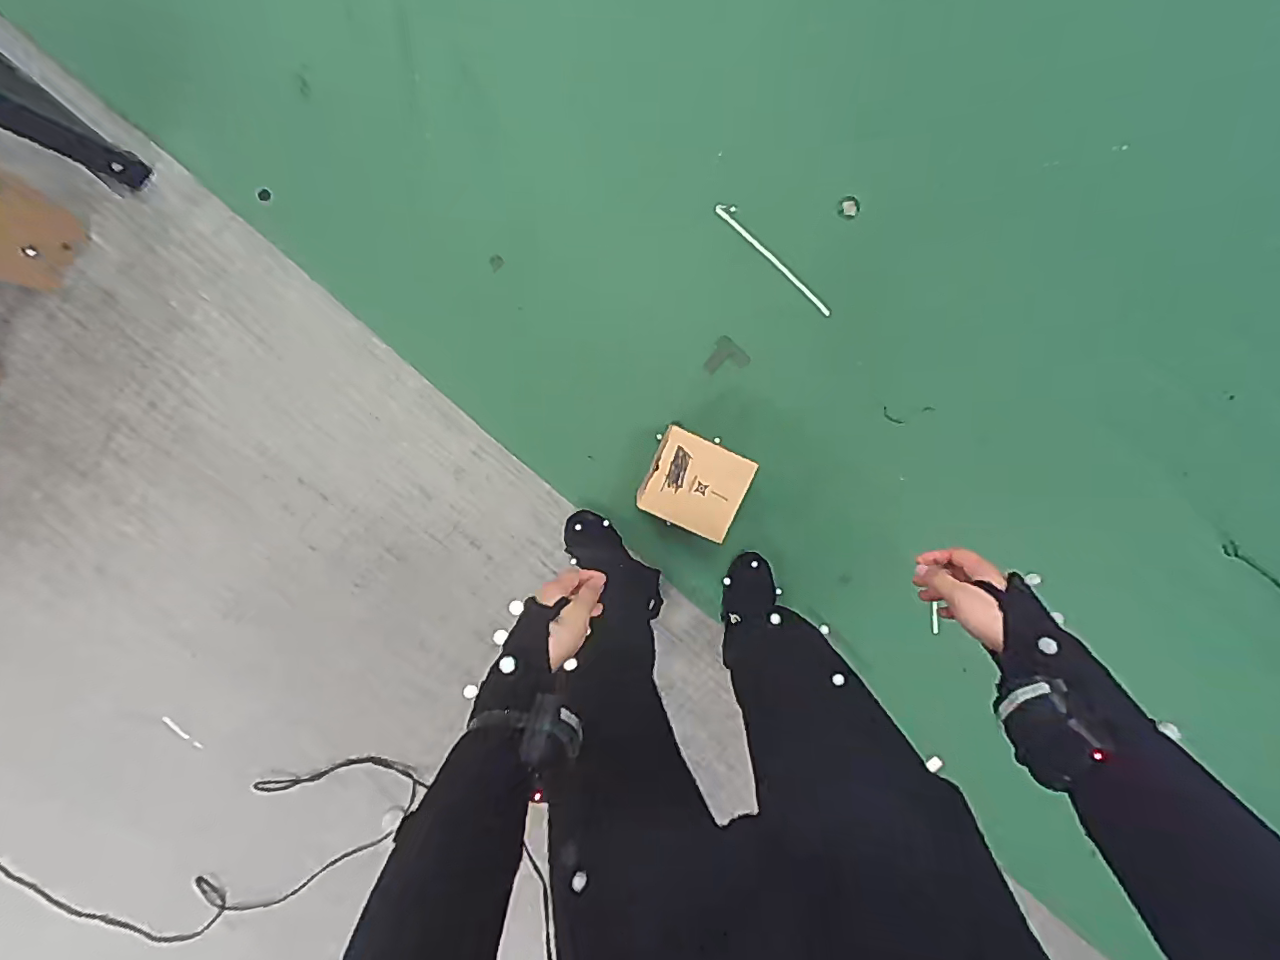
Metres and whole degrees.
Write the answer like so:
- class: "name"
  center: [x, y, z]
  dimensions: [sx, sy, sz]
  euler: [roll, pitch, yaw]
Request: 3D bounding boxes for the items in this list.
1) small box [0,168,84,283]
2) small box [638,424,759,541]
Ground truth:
- class: "small box"
  center: [-1.236, -0.497, 1.022]
  dimensions: [0.179, 0.176, 0.168]
  euler: [36, 96, -4]
- class: "small box"
  center: [0.107, -0.002, 1.072]
  dimensions: [0.179, 0.176, 0.168]
  euler: [25, 97, -4]
